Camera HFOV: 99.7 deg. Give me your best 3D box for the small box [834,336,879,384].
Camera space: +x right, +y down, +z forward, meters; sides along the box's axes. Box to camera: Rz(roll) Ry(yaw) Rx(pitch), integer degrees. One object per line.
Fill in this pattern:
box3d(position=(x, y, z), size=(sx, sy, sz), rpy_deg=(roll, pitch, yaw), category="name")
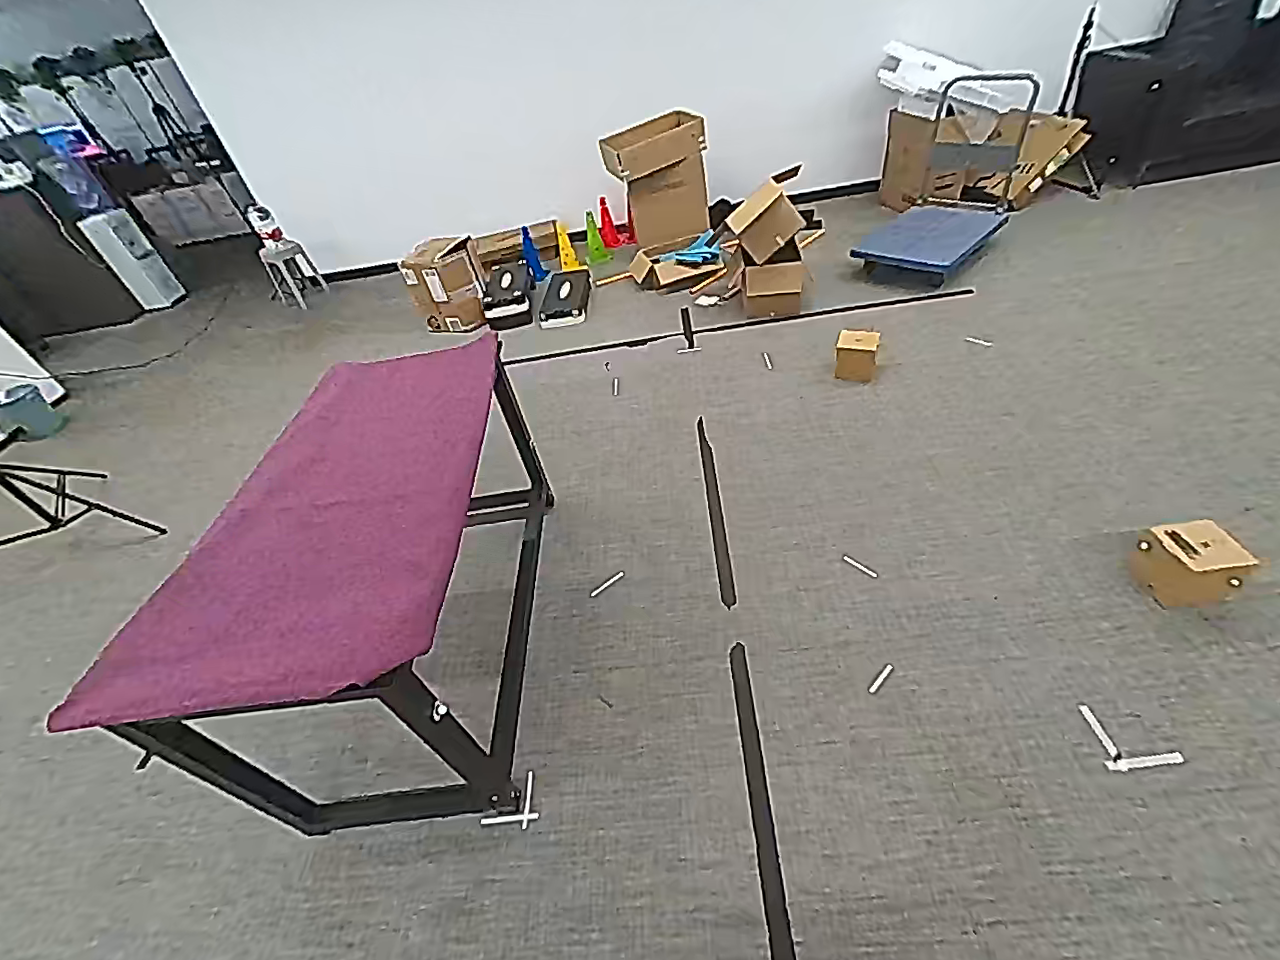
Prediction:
box3d(position=(1.033, -0.574, 2.586), size=(0.179, 0.176, 0.168), rpy_deg=(11, 46, 23), category="small box")
